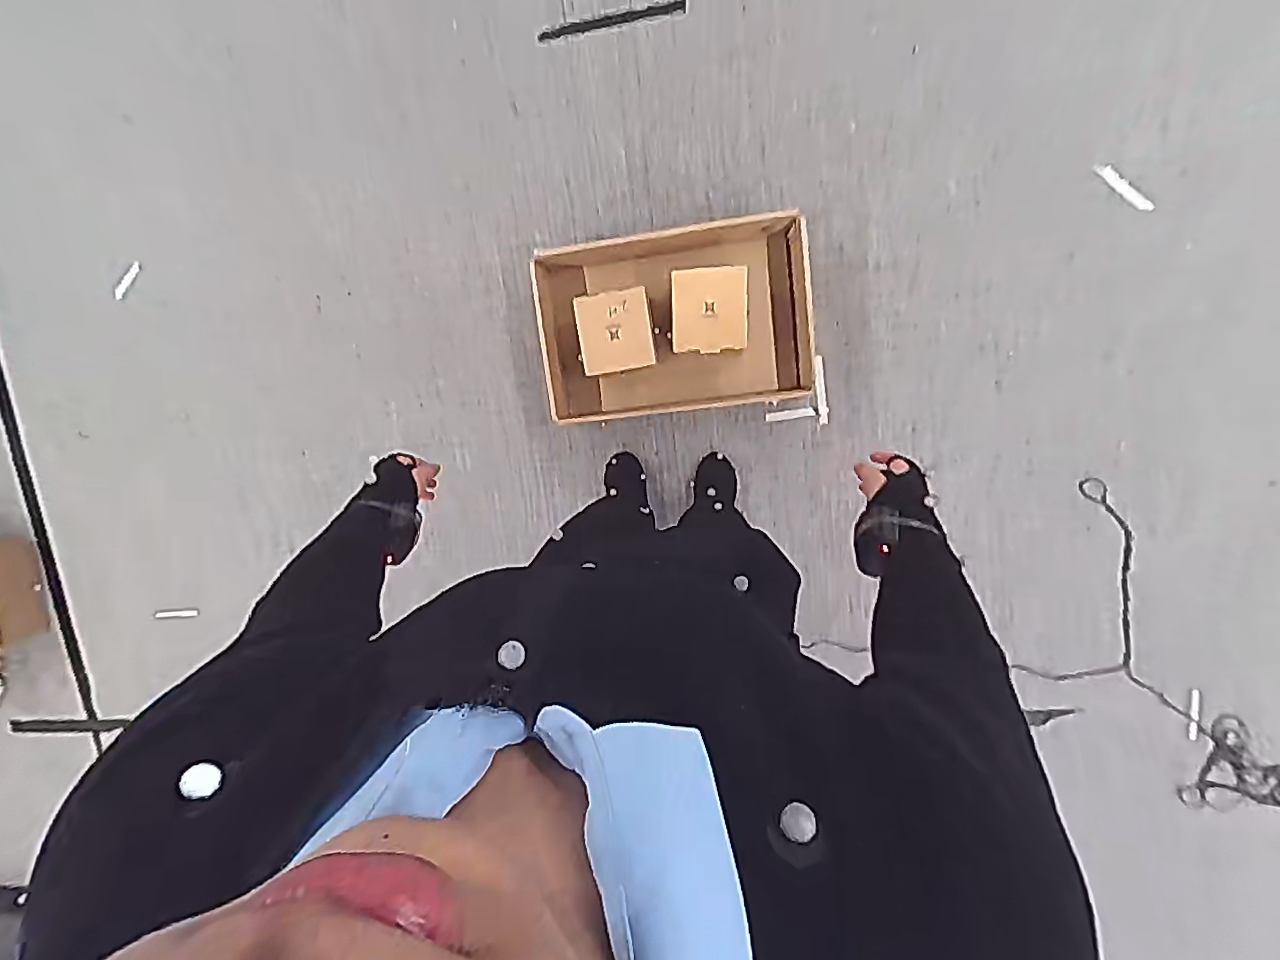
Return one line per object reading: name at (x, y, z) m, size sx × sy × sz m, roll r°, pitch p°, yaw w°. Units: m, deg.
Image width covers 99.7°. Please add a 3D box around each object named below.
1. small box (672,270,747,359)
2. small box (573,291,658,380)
small box at (0.161, -0.379, 1.265) m, size 0.168 × 0.176 × 0.179 m, roll 0°, pitch 99°, yaw 7°
small box at (-0.052, -0.337, 1.293) m, size 0.168 × 0.176 × 0.179 m, roll -8°, pitch 98°, yaw 6°
